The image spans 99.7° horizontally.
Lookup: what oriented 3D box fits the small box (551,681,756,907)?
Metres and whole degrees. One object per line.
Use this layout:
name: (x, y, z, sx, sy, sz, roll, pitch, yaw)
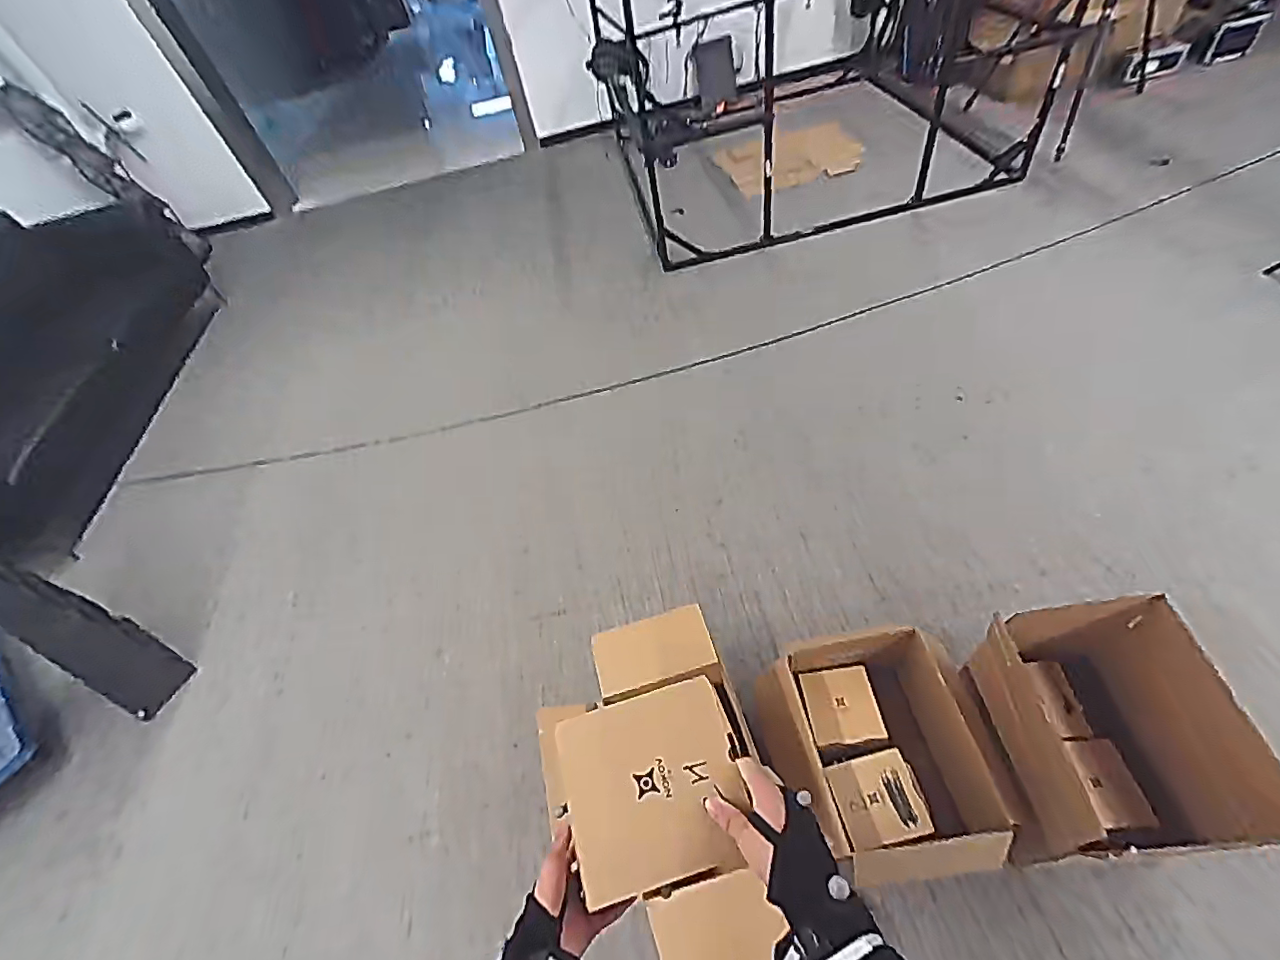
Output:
small box: (0.001, 0.348, 0.609, 0.179, 0.176, 0.168, -9, 59, -15)
